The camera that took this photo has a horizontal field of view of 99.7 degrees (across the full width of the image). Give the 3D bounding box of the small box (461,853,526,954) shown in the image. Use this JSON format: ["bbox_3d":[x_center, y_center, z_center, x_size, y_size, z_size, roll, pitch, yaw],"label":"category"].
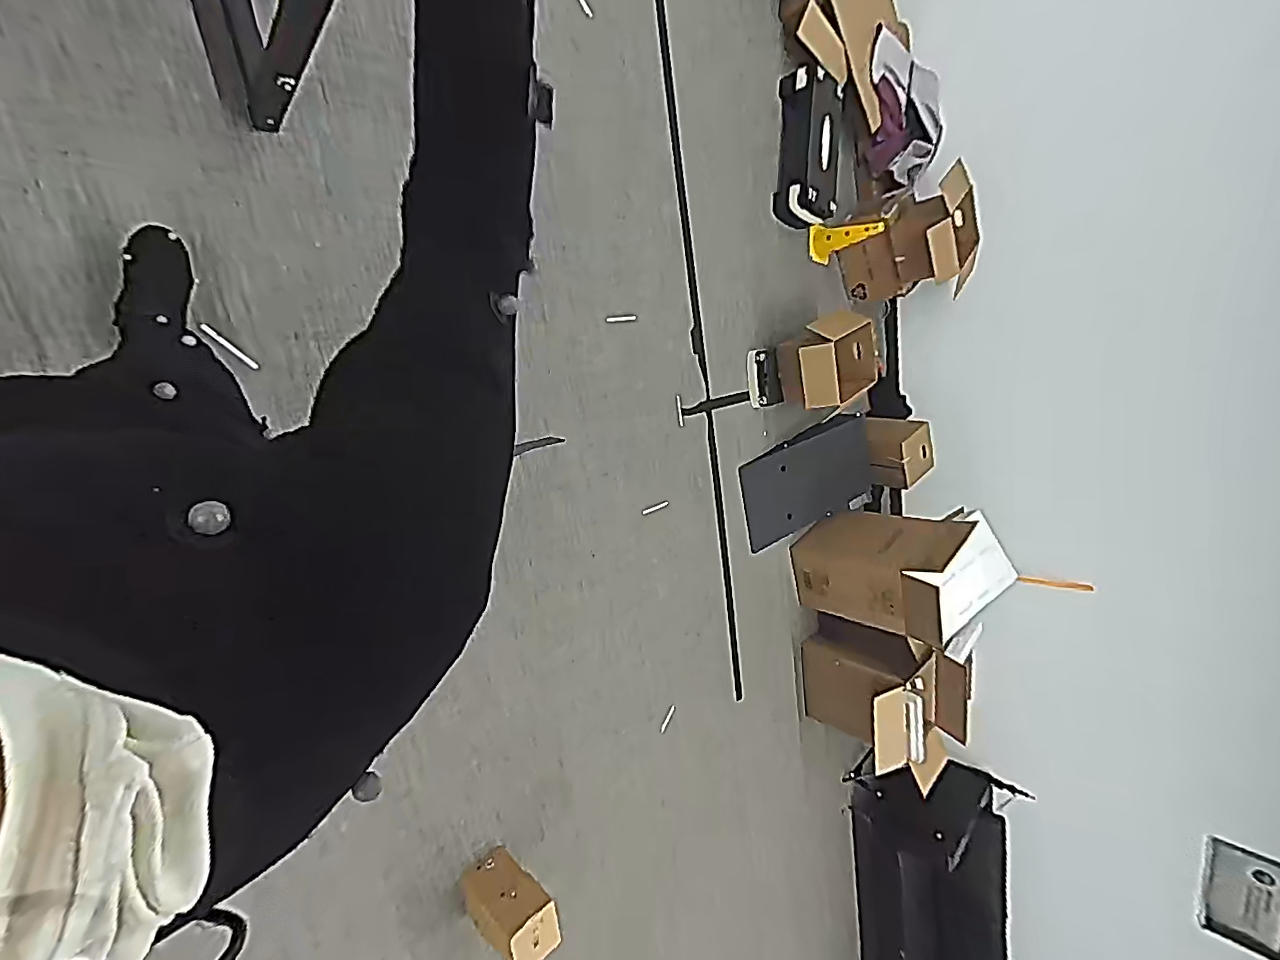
[{"bbox_3d":[-0.492,1.442,1.856,0.168,0.176,0.179,-17,106,-42],"label":"small box"}]

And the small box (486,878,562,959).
[{"bbox_3d":[-0.374,1.449,1.742,0.168,0.176,0.179,-18,106,-42],"label":"small box"}]
